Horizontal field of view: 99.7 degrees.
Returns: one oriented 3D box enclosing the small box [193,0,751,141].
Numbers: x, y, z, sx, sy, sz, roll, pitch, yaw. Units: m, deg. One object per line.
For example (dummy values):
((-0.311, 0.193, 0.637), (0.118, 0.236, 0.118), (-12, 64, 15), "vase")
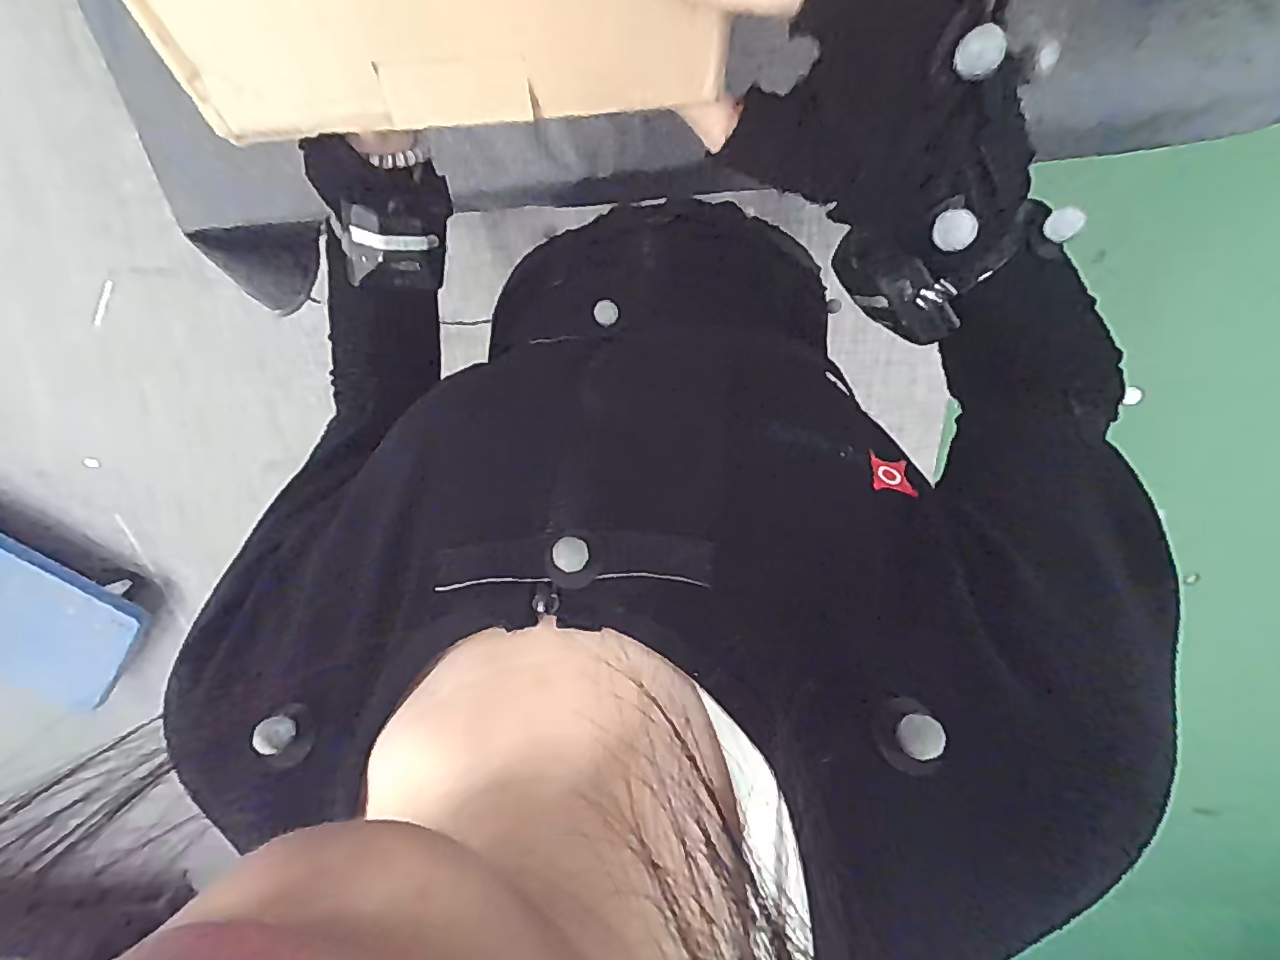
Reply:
((-0.058, -0.233, 0.149), (0.168, 0.179, 0.176), (-4, 150, 0), "small box")
